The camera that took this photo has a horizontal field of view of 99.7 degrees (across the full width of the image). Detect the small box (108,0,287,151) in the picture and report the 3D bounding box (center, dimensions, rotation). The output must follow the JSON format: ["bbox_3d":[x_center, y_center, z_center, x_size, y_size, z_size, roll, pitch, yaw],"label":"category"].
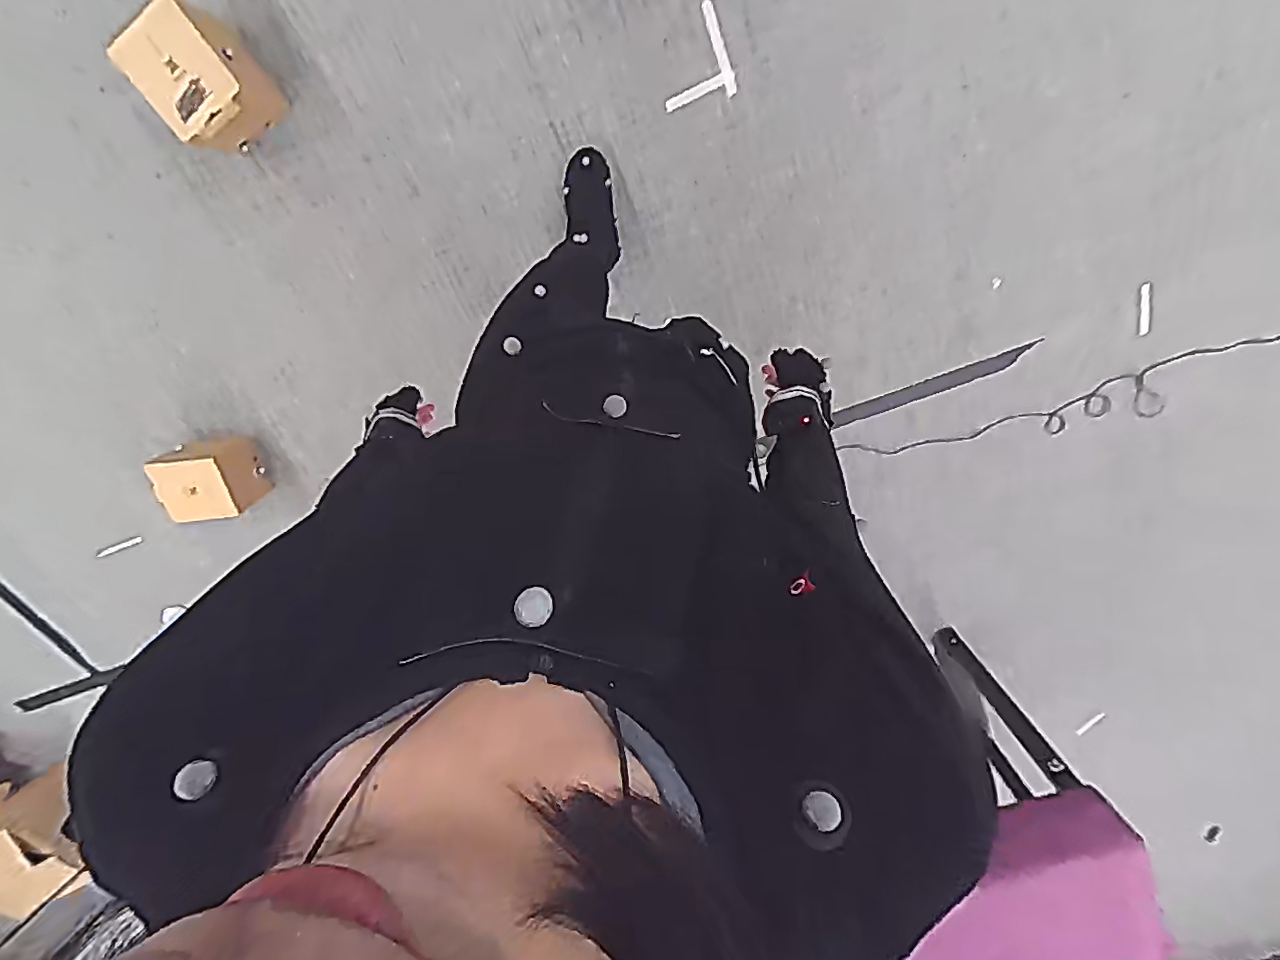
[{"bbox_3d":[-0.854,-0.782,1.068,0.168,0.176,0.179,-31,112,11],"label":"small box"}]

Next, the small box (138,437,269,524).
[{"bbox_3d":[-1.123,-0.003,1.407,0.179,0.176,0.168,-7,116,-1],"label":"small box"}]
